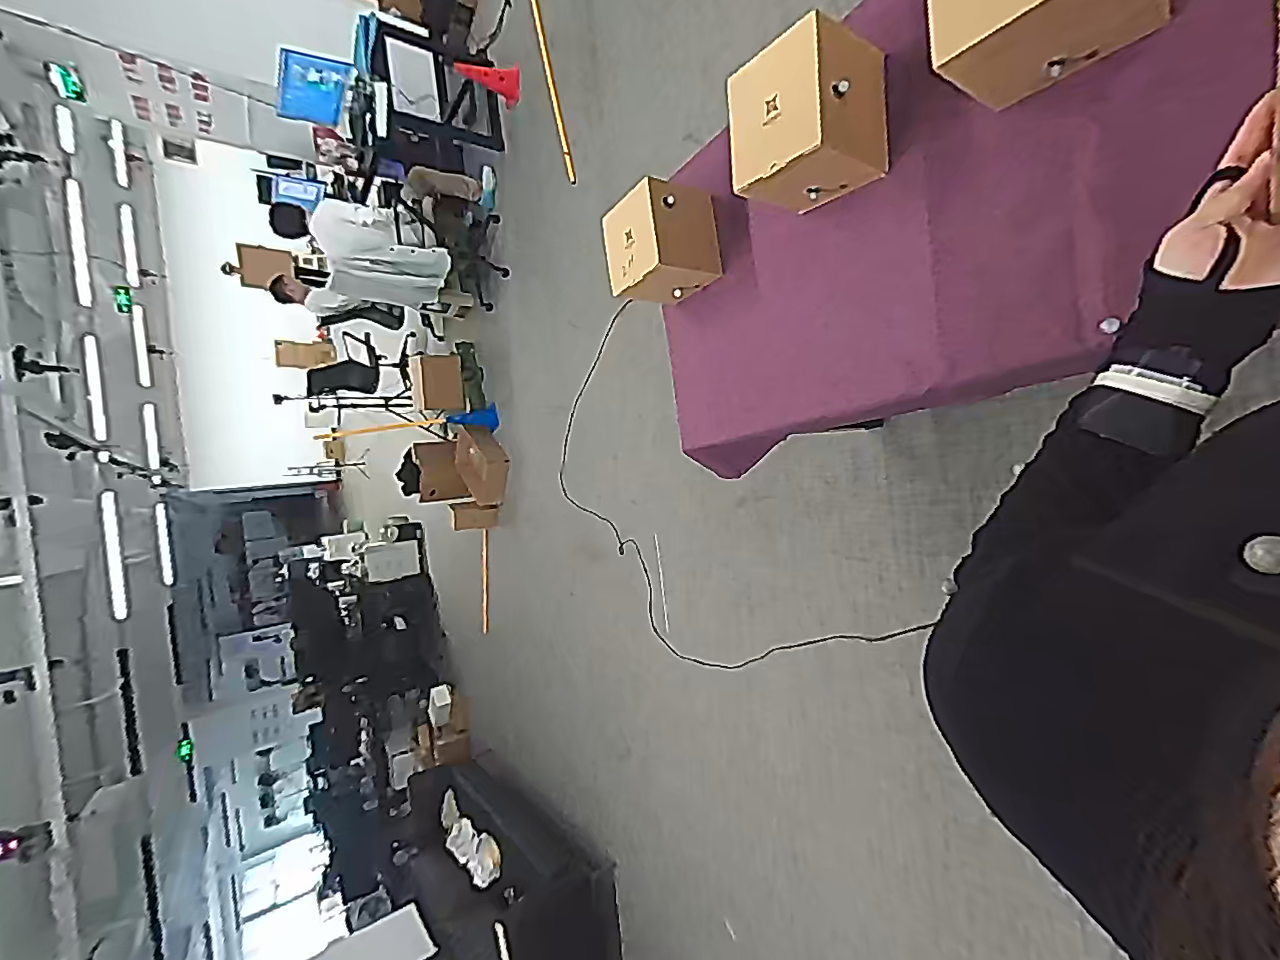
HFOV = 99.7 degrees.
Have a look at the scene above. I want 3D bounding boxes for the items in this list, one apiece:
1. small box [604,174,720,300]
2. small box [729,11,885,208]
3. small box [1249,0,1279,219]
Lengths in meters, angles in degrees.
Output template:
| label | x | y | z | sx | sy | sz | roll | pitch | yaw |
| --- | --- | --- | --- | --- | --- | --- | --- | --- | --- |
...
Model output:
| label | x | y | z | sx | sy | sz | roll | pitch | yaw |
| --- | --- | --- | --- | --- | --- | --- | --- | --- | --- |
| small box | 0.046 | -0.495 | 1.132 | 0.168 | 0.176 | 0.179 | -10 | 87 | 54 |
| small box | 0.258 | -0.551 | 0.836 | 0.168 | 0.176 | 0.179 | 2 | 98 | 54 |
| small box | 0.425 | -0.266 | 0.252 | 0.179 | 0.168 | 0.176 | 7 | 80 | 49 |
